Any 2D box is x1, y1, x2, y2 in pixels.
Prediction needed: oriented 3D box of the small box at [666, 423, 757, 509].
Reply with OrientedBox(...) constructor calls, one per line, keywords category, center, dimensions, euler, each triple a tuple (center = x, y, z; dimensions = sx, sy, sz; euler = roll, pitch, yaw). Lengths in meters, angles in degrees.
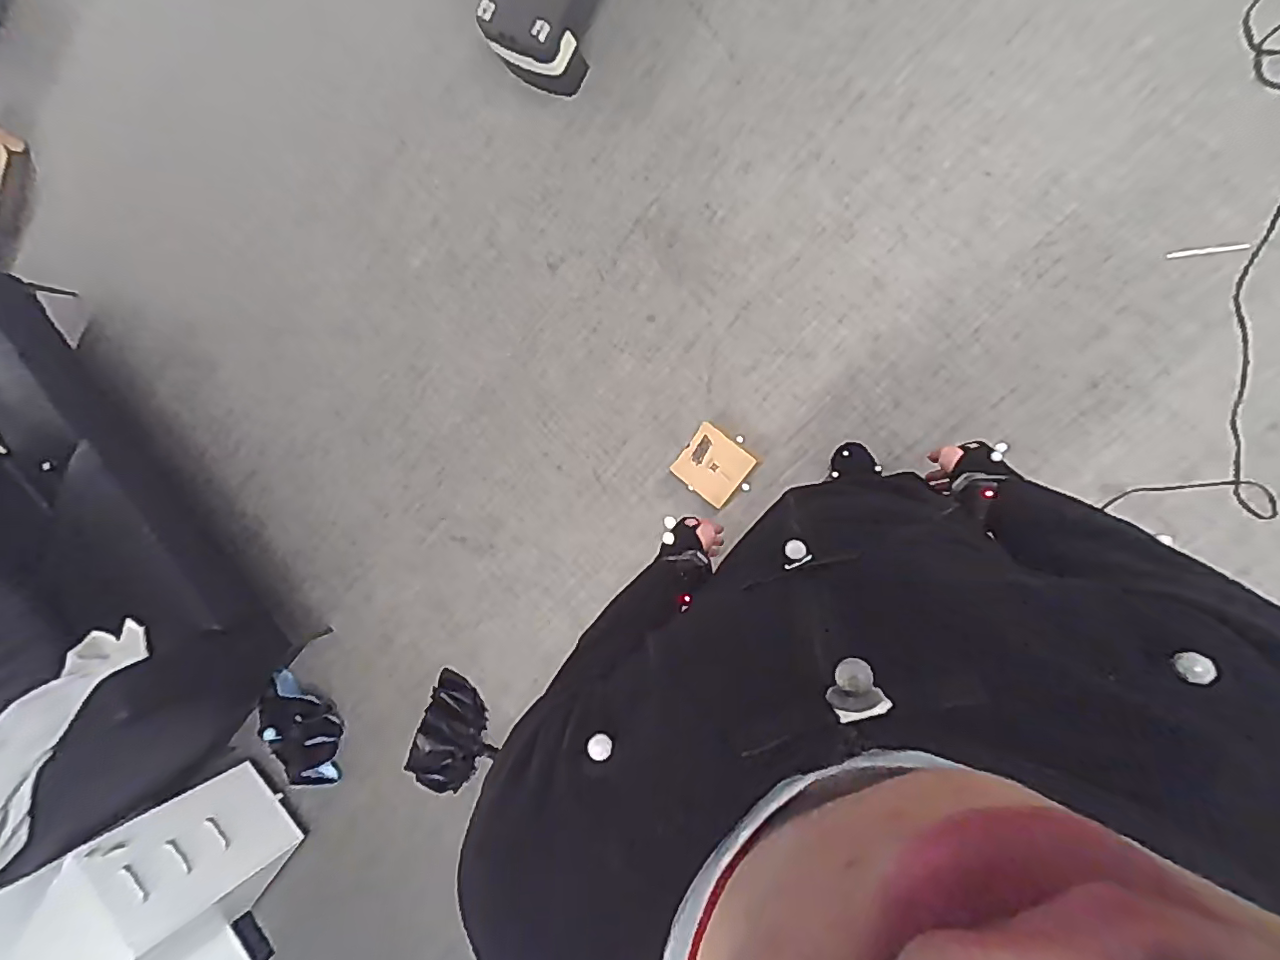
OrientedBox(category="small box", center=(0.204, -0.040, 1.504), dimensions=(0.179, 0.176, 0.168), euler=(40, 104, 12))
